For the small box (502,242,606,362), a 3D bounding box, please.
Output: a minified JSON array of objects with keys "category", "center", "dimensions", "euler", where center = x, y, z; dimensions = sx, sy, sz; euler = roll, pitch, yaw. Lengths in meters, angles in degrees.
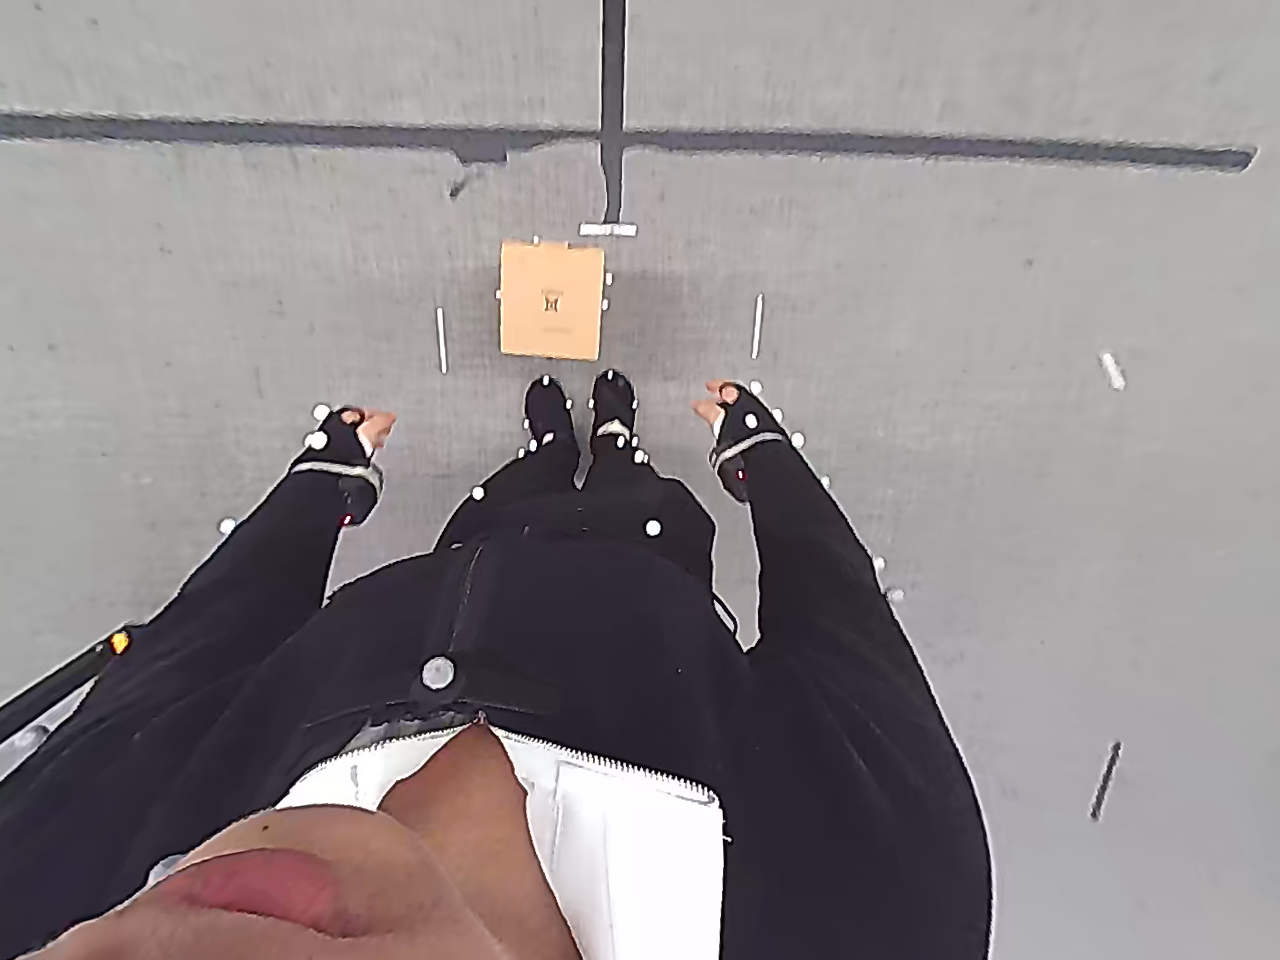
[{"category":"small box","center":[-0.148,-0.312,0.959],"dimensions":[0.168,0.176,0.179],"euler":[4,108,-5]}]
